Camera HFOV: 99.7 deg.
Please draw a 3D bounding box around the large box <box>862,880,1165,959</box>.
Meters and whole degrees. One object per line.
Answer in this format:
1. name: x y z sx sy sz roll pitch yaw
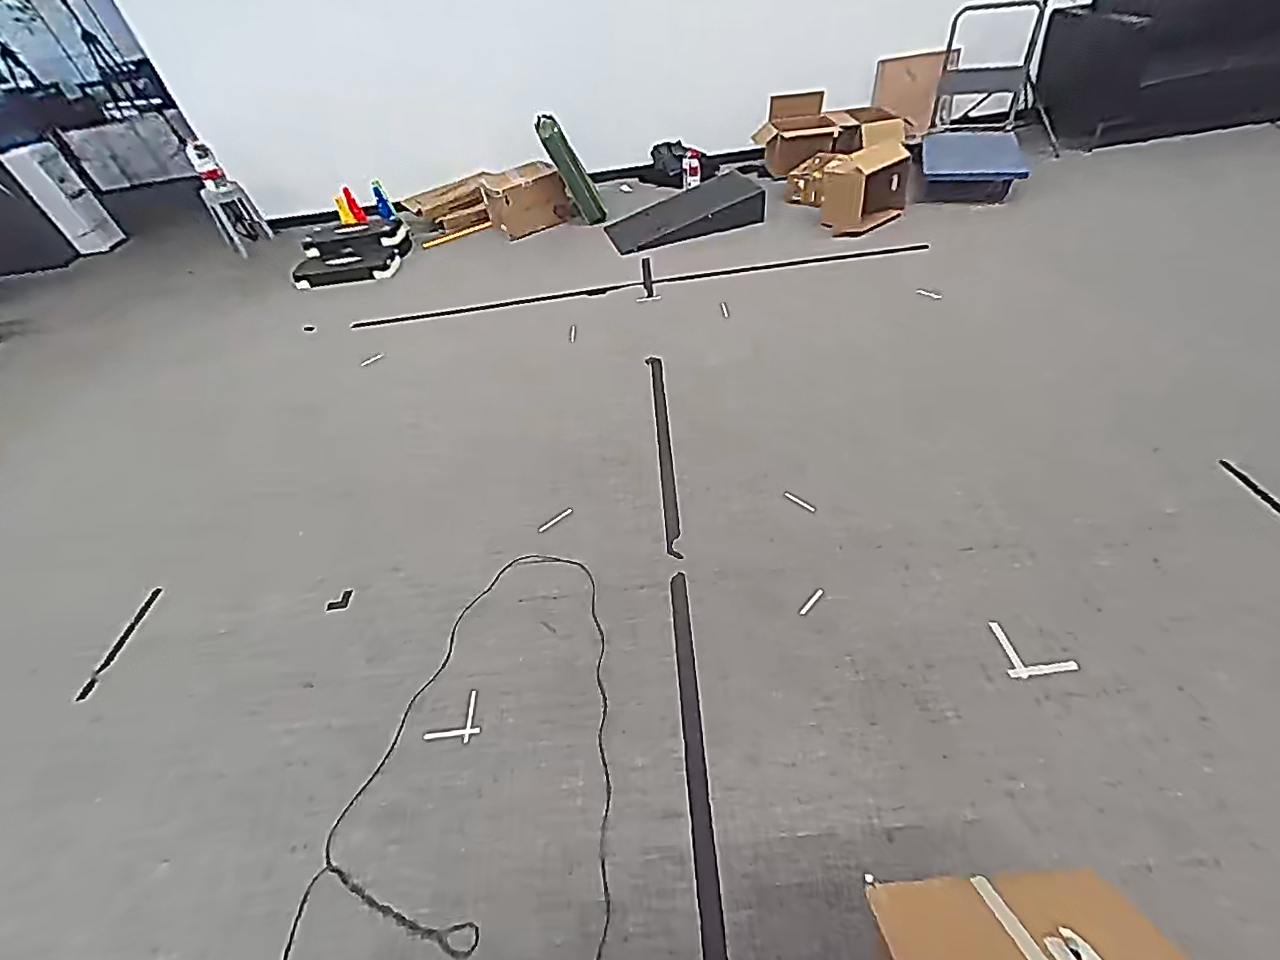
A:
1. large box: 0.476 0.723 0.569 0.320 0.408 0.320 -6 86 5
